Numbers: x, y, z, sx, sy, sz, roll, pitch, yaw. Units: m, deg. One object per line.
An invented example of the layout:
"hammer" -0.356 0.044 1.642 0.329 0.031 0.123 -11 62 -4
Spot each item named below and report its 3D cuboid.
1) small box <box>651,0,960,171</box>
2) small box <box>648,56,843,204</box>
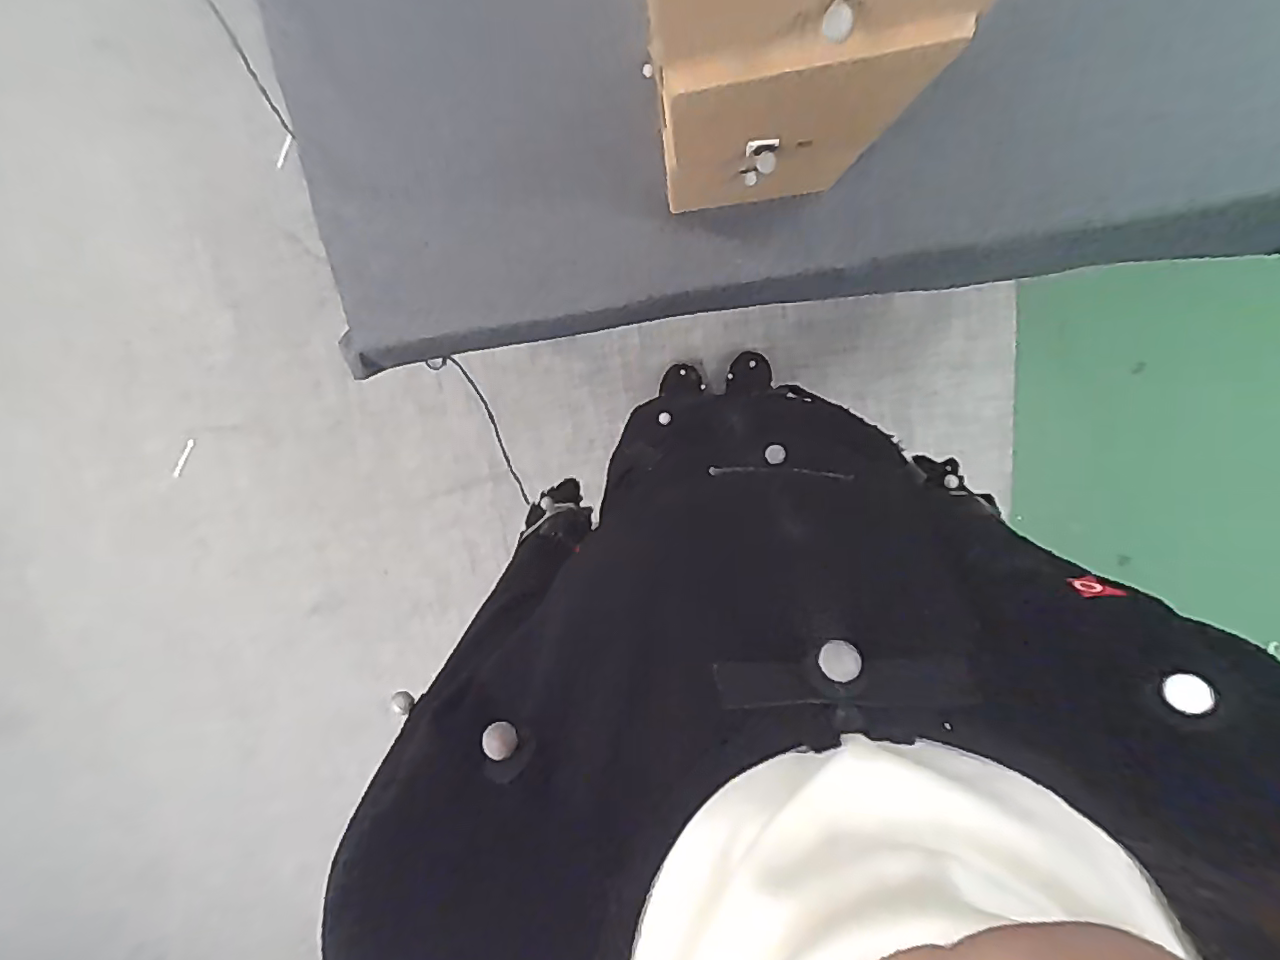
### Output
"small box" 0.086 -0.331 0.352 0.168 0.176 0.179 -6 105 8
"small box" 0.100 -0.374 0.506 0.179 0.176 0.168 -5 105 6
